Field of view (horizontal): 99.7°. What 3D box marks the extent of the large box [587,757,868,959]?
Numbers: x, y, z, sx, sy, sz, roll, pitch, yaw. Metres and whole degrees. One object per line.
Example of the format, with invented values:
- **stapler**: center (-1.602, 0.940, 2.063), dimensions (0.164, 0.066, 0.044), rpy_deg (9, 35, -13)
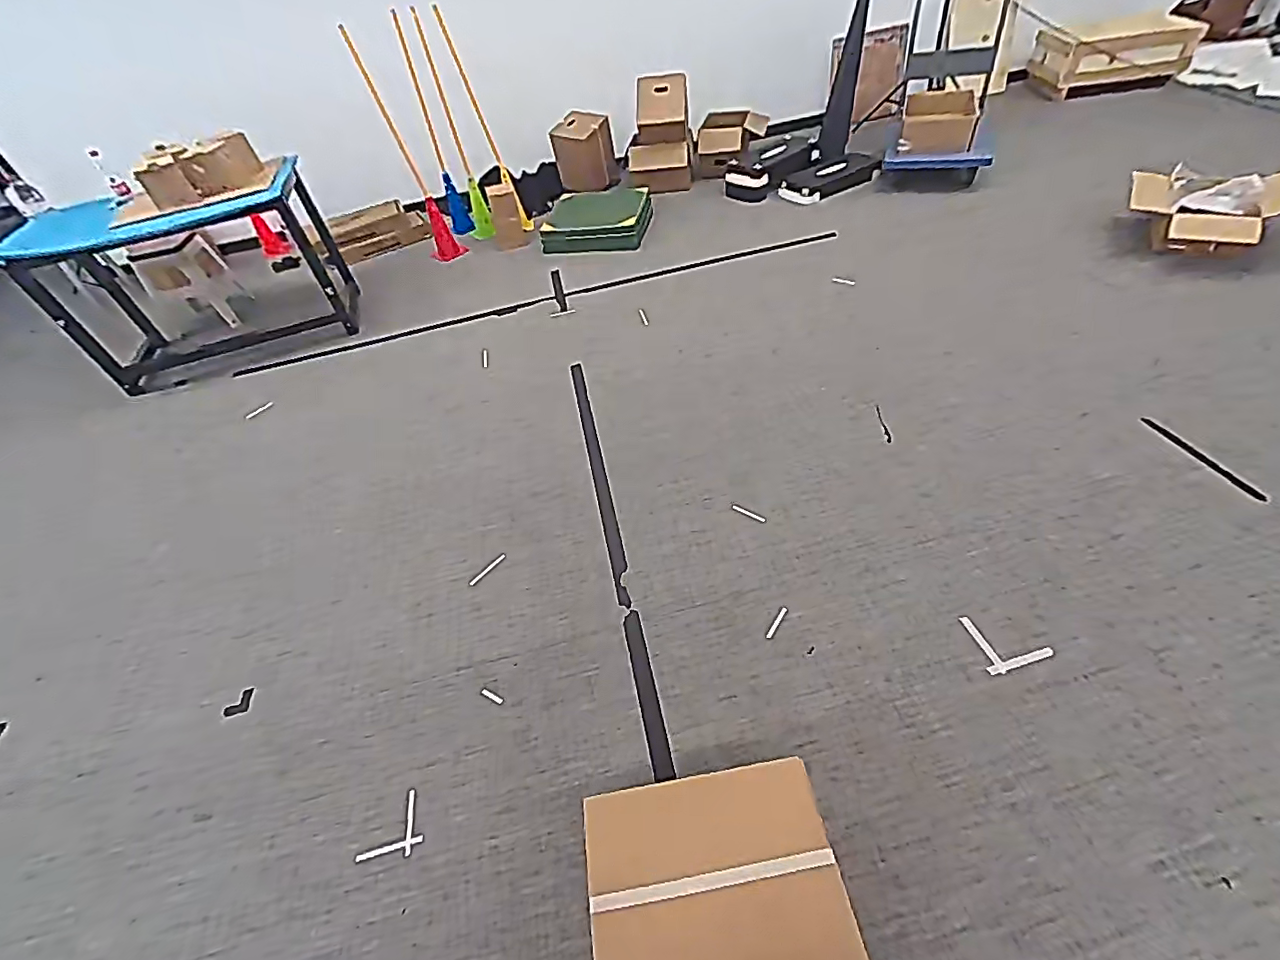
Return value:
- **large box**: center (0.139, 0.751, 0.984), dimensions (0.408, 0.320, 0.320), rpy_deg (-11, 45, -1)
